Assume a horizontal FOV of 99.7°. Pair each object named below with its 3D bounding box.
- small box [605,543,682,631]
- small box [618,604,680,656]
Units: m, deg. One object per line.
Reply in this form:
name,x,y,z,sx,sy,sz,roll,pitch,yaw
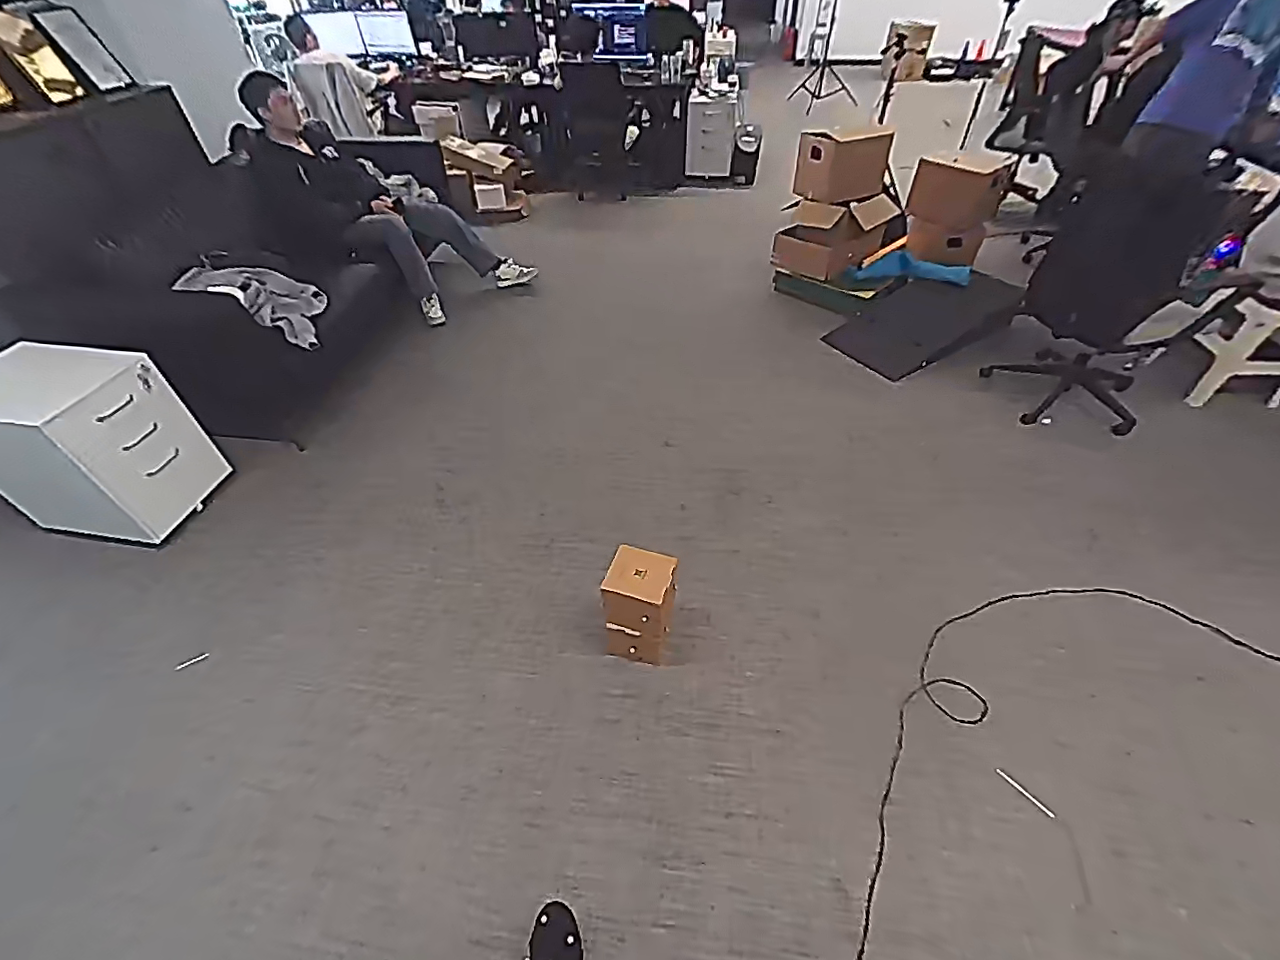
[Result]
small box,0.015,0.313,1.563,0.179,0.176,0.168,12,45,16
small box,0.018,0.419,1.677,0.179,0.176,0.168,-13,44,-8
